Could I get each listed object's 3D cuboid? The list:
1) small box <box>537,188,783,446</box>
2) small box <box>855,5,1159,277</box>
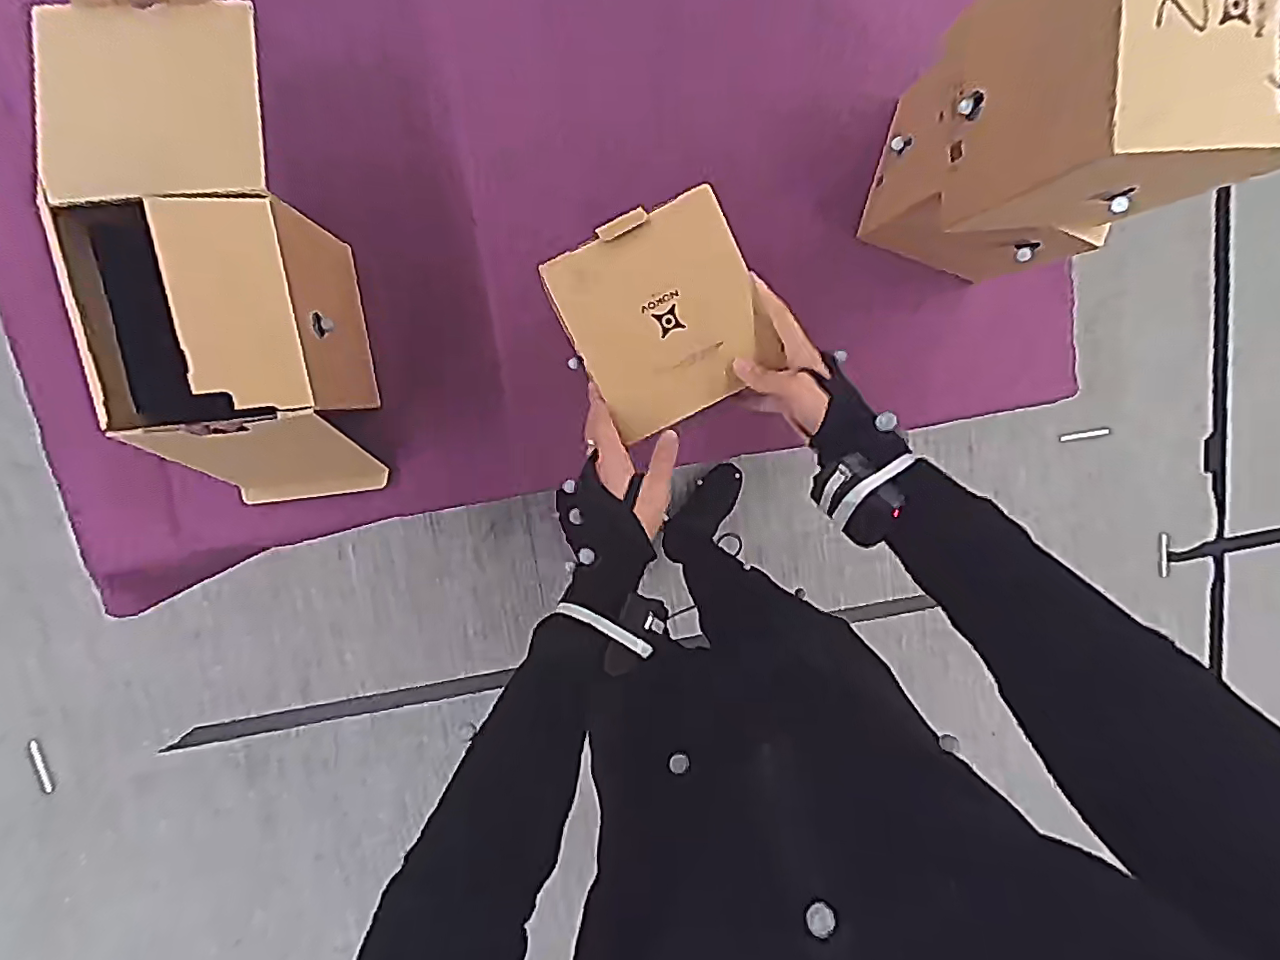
[{"bbox_3d":[0.014,-0.150,0.556,0.168,0.176,0.179,-29,99,0],"label":"small box"},{"bbox_3d":[0.369,-0.332,0.577,0.179,0.176,0.168,16,96,-9],"label":"small box"}]
